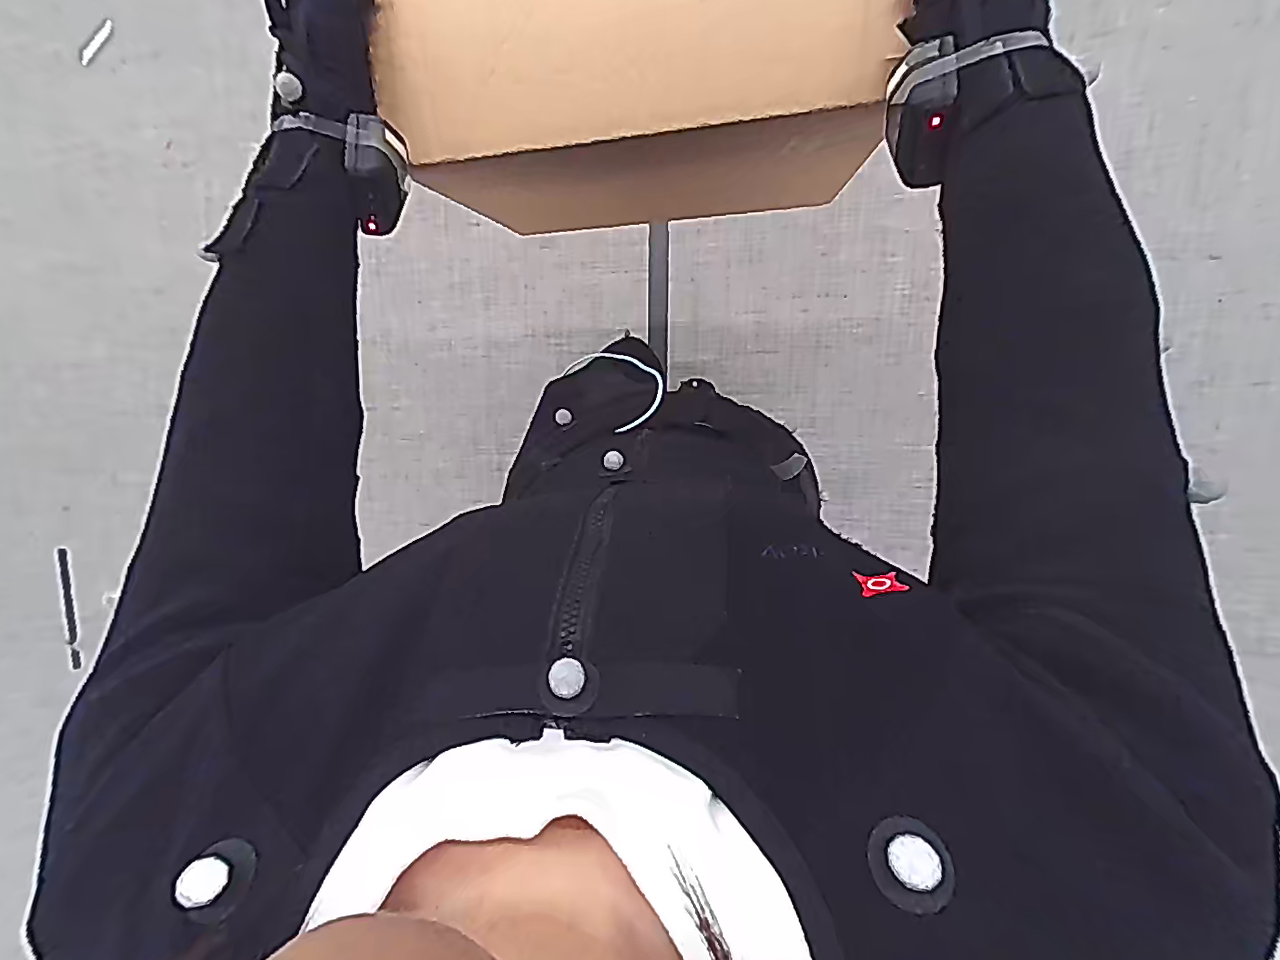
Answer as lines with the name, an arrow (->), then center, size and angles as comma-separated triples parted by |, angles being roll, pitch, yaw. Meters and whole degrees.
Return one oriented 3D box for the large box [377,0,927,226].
large box -> 0.008, -0.459, 0.516 | 0.408, 0.320, 0.320 | -3, 105, 8
